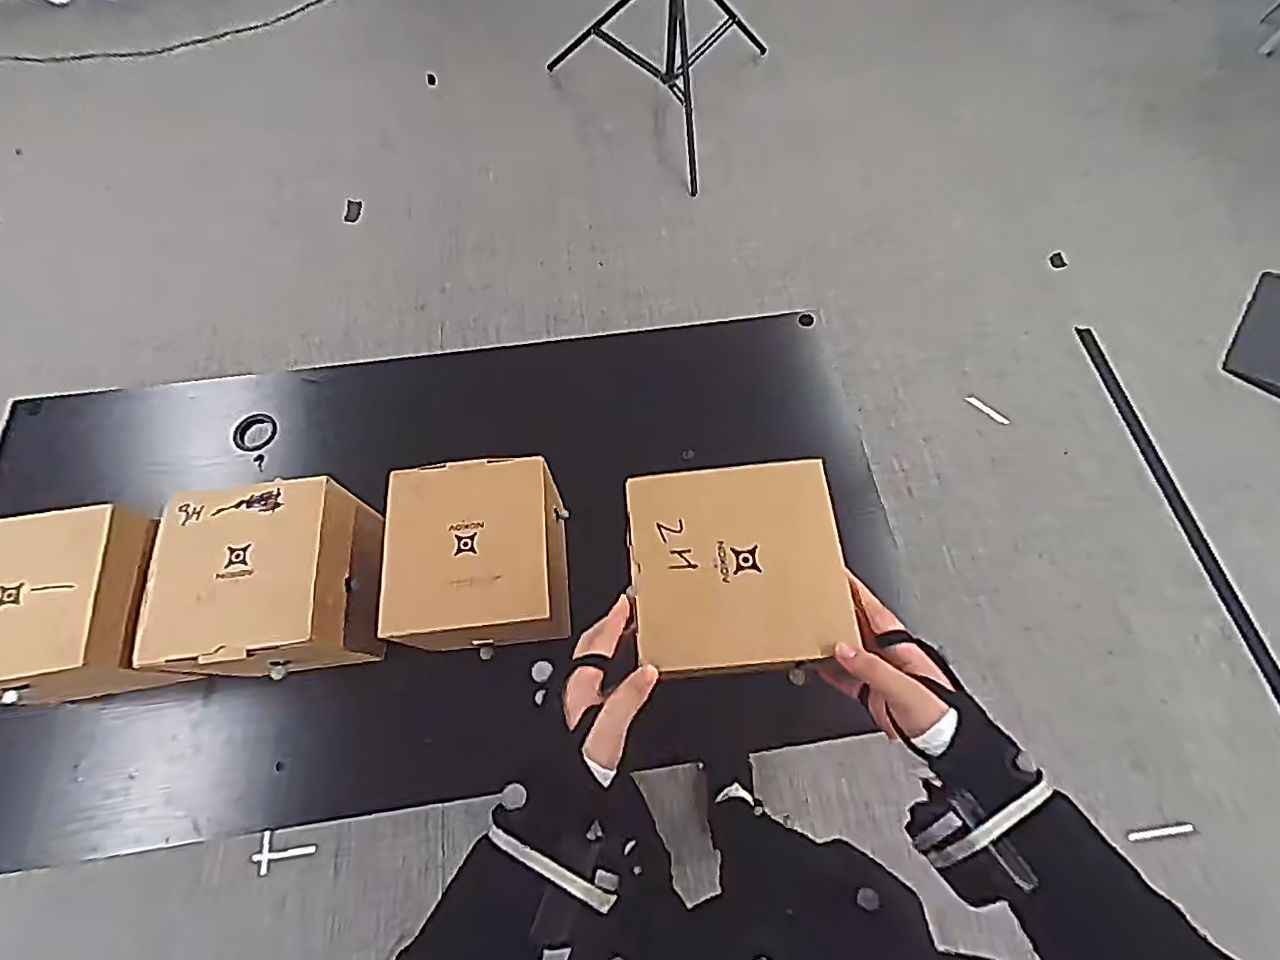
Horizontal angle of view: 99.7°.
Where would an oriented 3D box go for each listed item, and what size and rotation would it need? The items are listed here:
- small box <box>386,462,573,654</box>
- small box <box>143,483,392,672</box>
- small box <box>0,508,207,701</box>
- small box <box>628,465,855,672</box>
[{"bbox_3d":[-0.174,0.098,0.631,0.168,0.176,0.179,-7,69,-2],"label":"small box"},{"bbox_3d":[-0.399,0.121,0.618,0.168,0.176,0.179,-7,68,-2],"label":"small box"},{"bbox_3d":[-0.612,0.147,0.605,0.179,0.176,0.168,-9,68,-5],"label":"small box"},{"bbox_3d":[0.086,0.096,0.531,0.179,0.176,0.168,-6,69,3],"label":"small box"}]
